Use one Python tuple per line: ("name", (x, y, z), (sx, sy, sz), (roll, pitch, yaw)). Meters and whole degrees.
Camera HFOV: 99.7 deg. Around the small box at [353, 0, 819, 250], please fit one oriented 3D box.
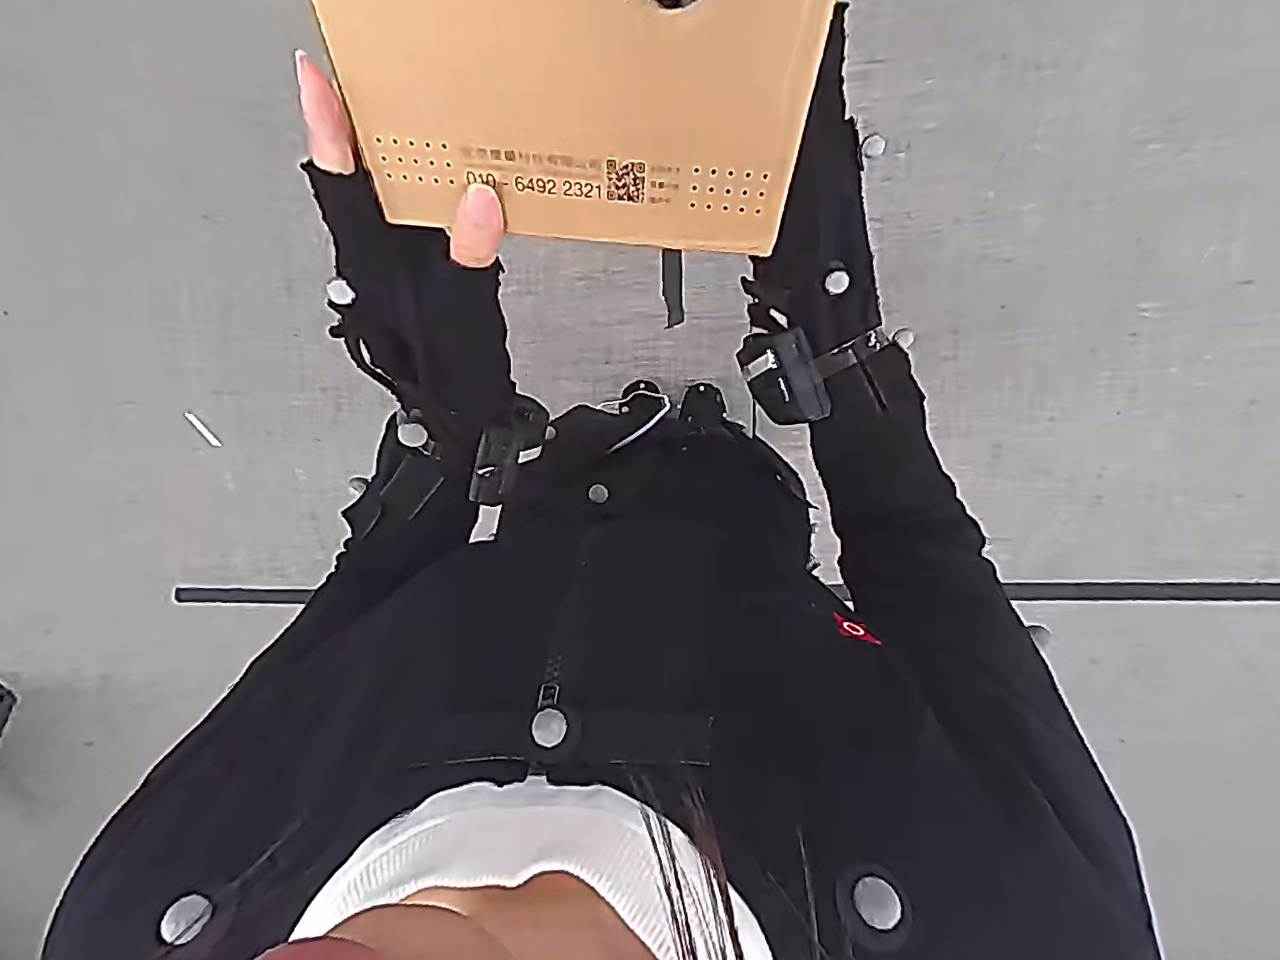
("small box", (-0.011, -0.222, 0.233), (0.168, 0.179, 0.176), (7, 142, 2))
